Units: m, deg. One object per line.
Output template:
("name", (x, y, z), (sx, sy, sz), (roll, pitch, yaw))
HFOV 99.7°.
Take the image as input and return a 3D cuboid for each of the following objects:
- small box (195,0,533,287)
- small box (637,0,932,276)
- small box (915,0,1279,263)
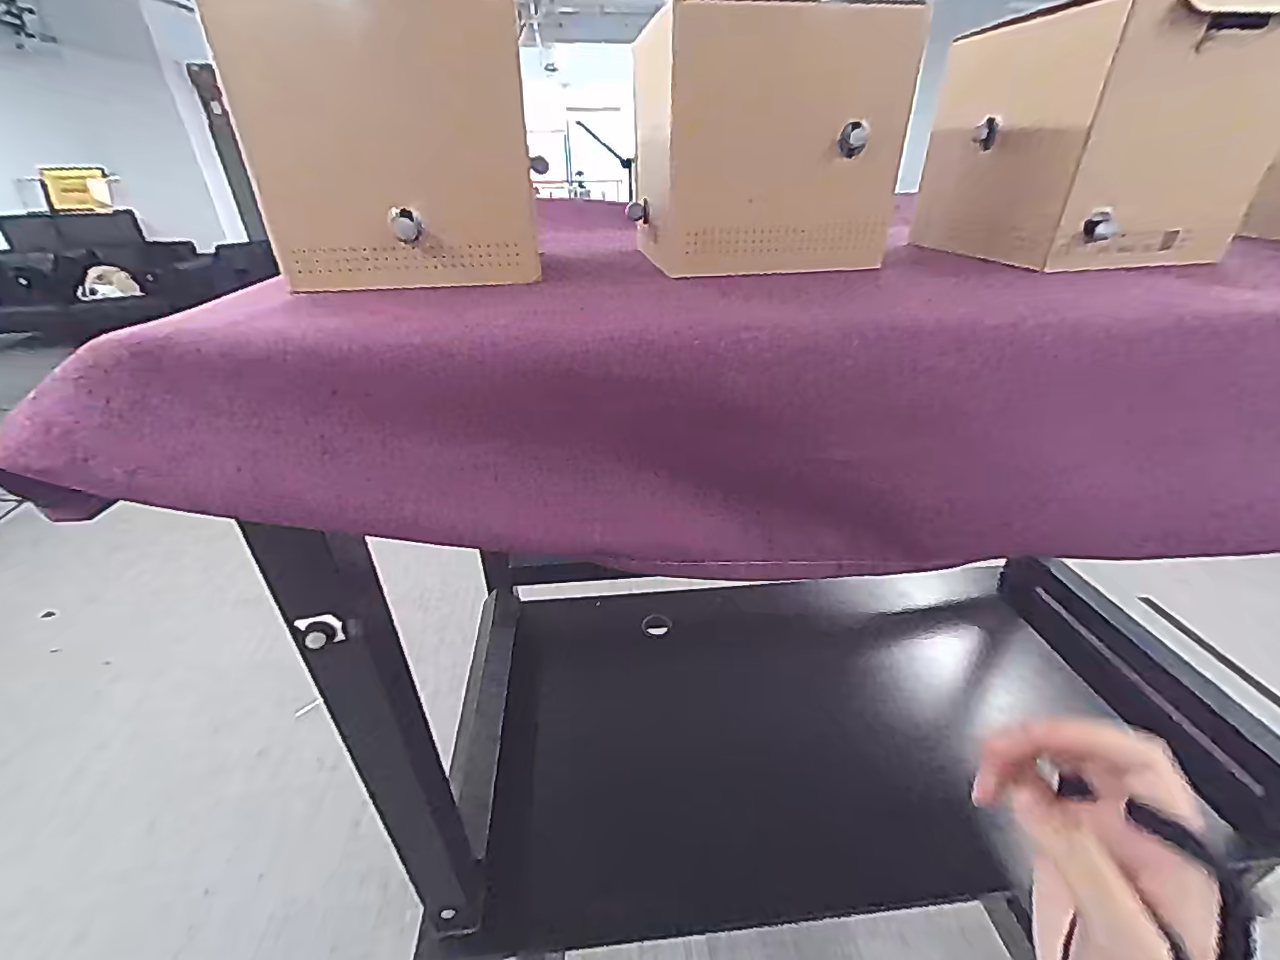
("small box", (-0.173, -0.249, 0.408), (0.179, 0.176, 0.168), (-5, 30, -10))
("small box", (0.093, -0.271, 0.444), (0.179, 0.176, 0.168), (-5, 30, -7))
("small box", (0.366, -0.278, 0.447), (0.168, 0.176, 0.179), (-6, 30, -9))
